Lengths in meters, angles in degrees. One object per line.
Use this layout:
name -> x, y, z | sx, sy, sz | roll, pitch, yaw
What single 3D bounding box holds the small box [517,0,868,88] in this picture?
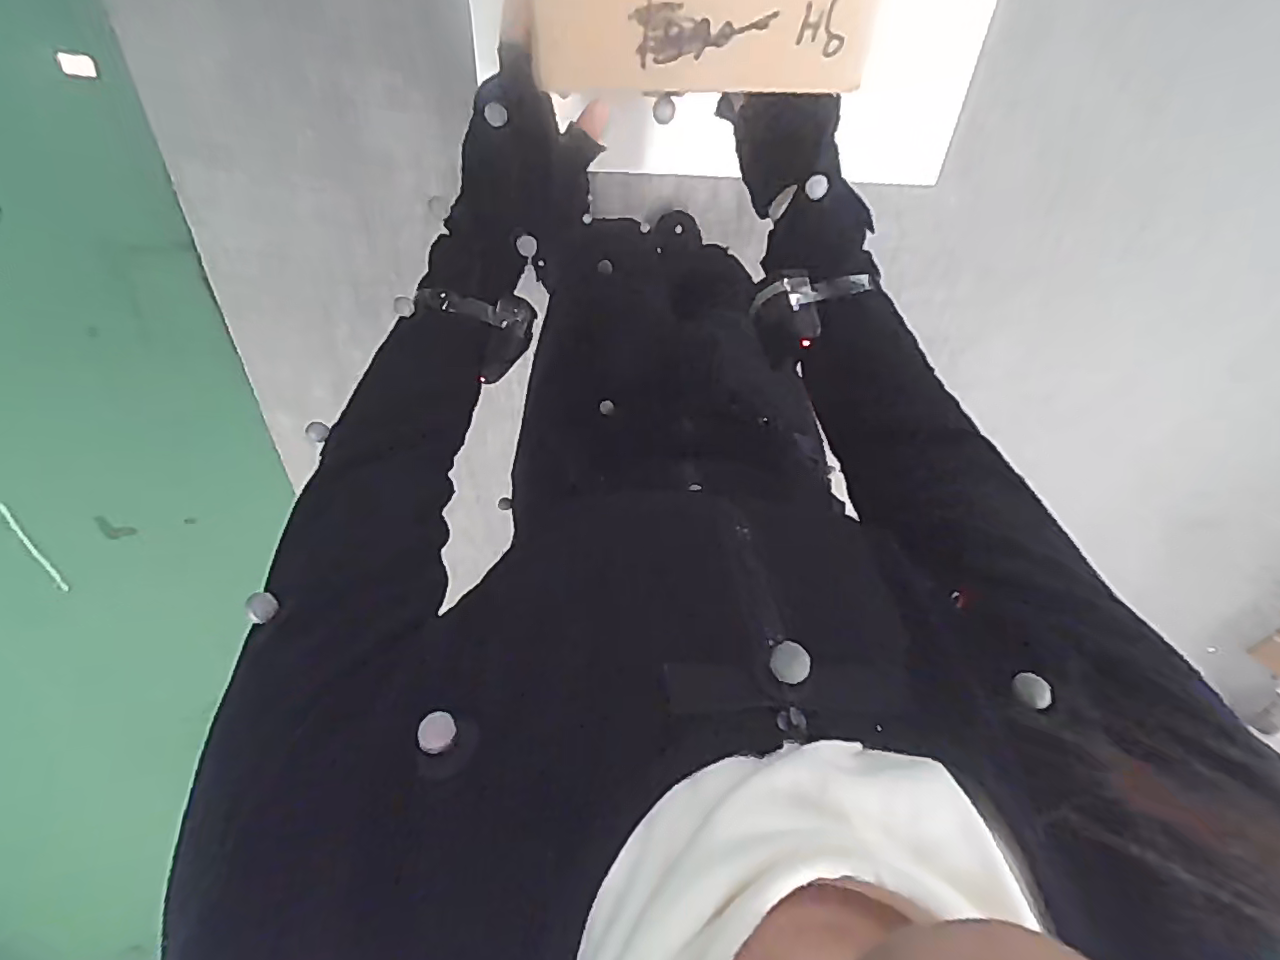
small box -> 0.015, -0.312, 0.279 | 0.168, 0.176, 0.179 | -5, 127, -7
